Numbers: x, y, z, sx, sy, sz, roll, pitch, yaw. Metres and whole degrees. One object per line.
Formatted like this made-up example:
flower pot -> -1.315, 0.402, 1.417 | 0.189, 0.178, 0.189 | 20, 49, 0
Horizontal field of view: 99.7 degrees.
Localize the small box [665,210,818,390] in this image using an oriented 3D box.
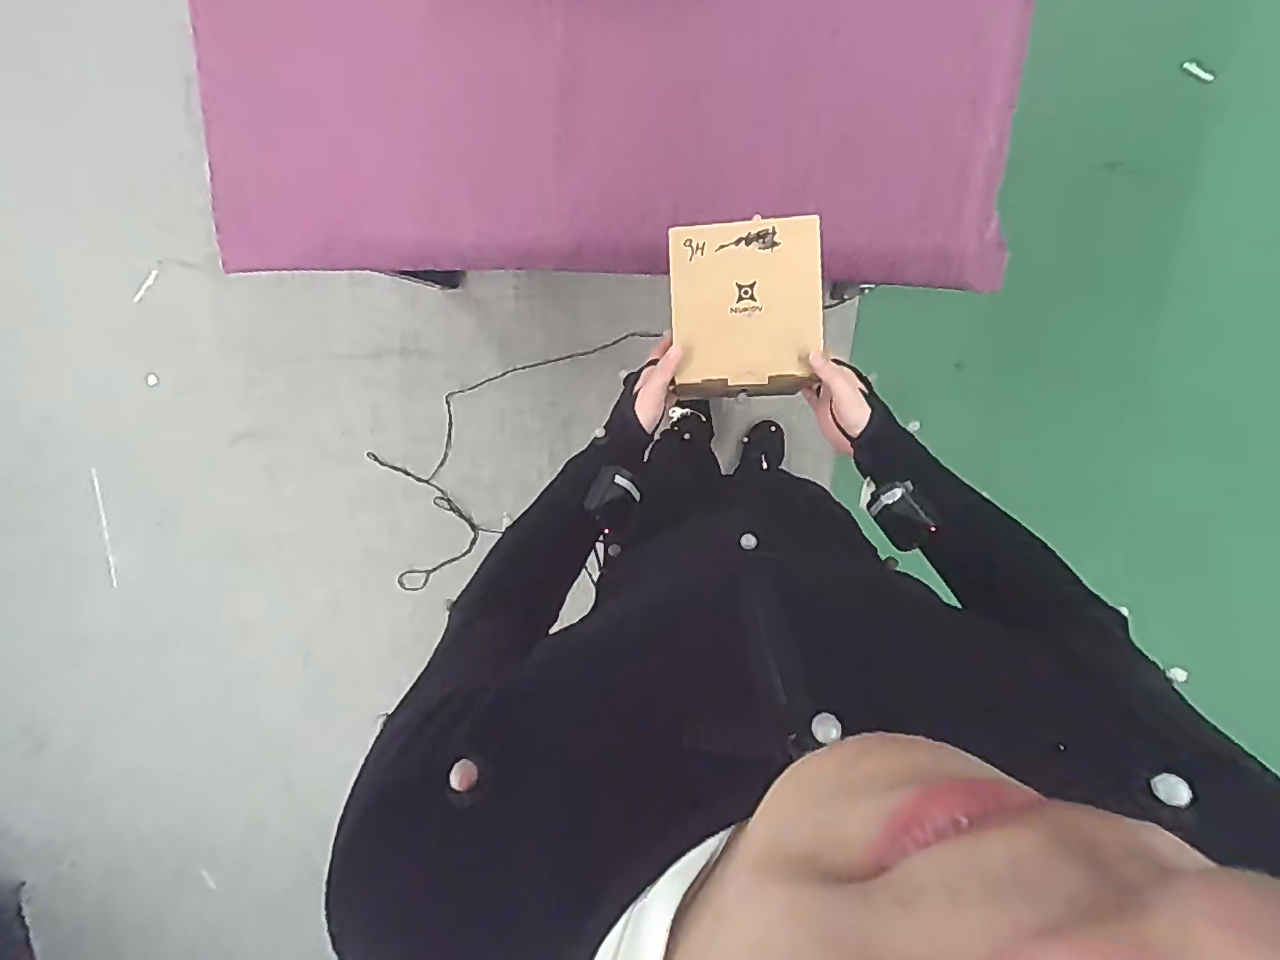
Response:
small box -> 0.121, -0.206, 0.671 | 0.168, 0.176, 0.179 | -2, 93, 7
